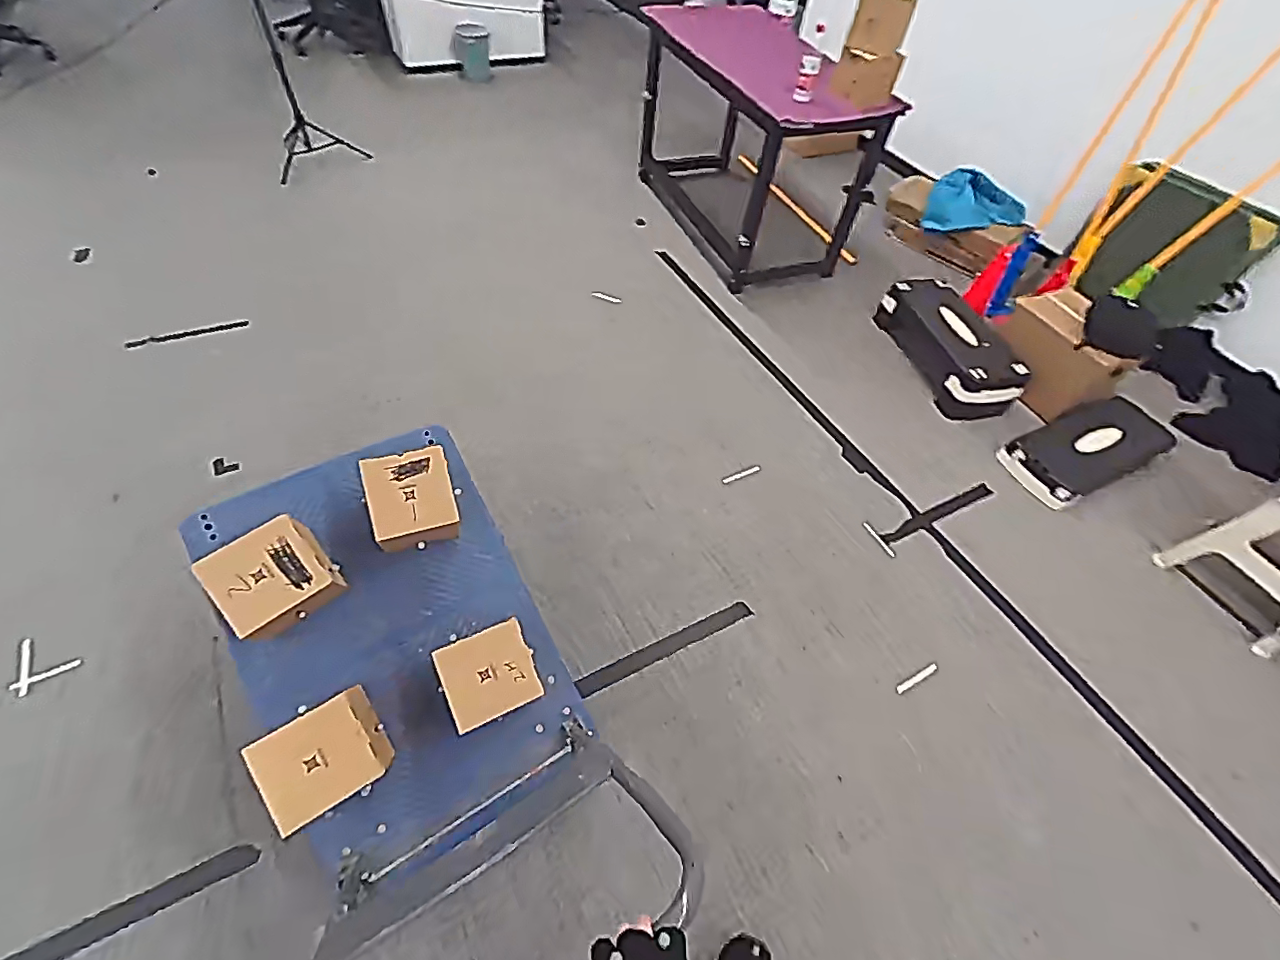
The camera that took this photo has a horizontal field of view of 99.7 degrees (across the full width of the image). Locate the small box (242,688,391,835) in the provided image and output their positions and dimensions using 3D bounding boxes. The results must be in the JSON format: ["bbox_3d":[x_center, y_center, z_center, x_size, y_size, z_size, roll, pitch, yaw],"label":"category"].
[{"bbox_3d":[-0.593,0.513,1.016,0.179,0.176,0.168,-28,84,-24],"label":"small box"}]

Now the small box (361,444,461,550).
[{"bbox_3d":[-0.497,0.042,1.185,0.168,0.176,0.179,-14,80,-21],"label":"small box"}]

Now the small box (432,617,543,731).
[{"bbox_3d":[-0.320,0.401,1.137,0.179,0.176,0.168,-19,82,-22],"label":"small box"}]
